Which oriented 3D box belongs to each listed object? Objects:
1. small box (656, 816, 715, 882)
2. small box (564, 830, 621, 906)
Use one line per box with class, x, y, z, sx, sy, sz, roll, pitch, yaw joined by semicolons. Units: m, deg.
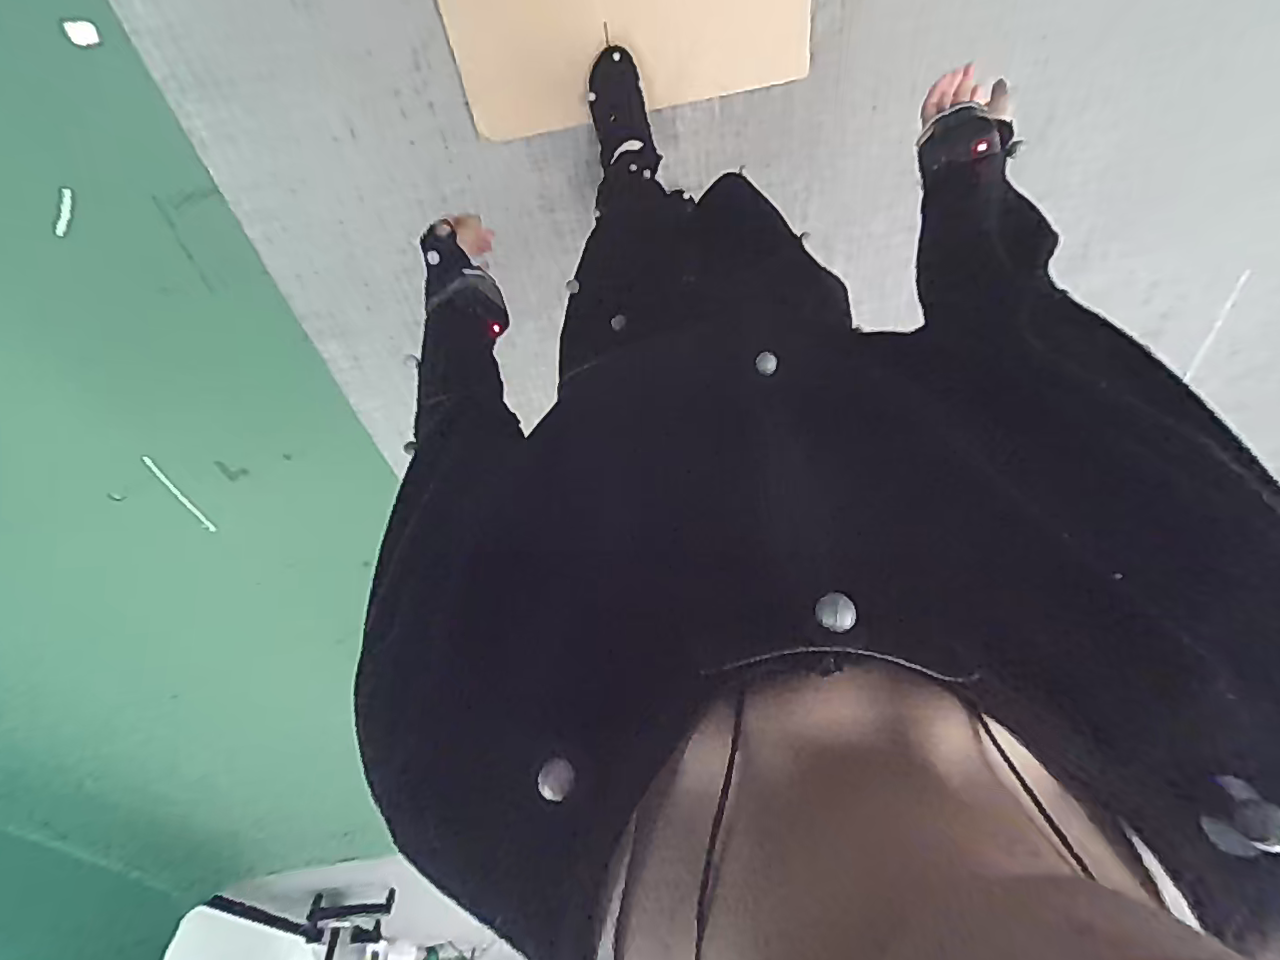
small box;0.151;1.243;1.805;0.168;0.176;0.179;-11;132;2
small box;-0.160;1.293;1.809;0.168;0.176;0.179;-8;132;0
